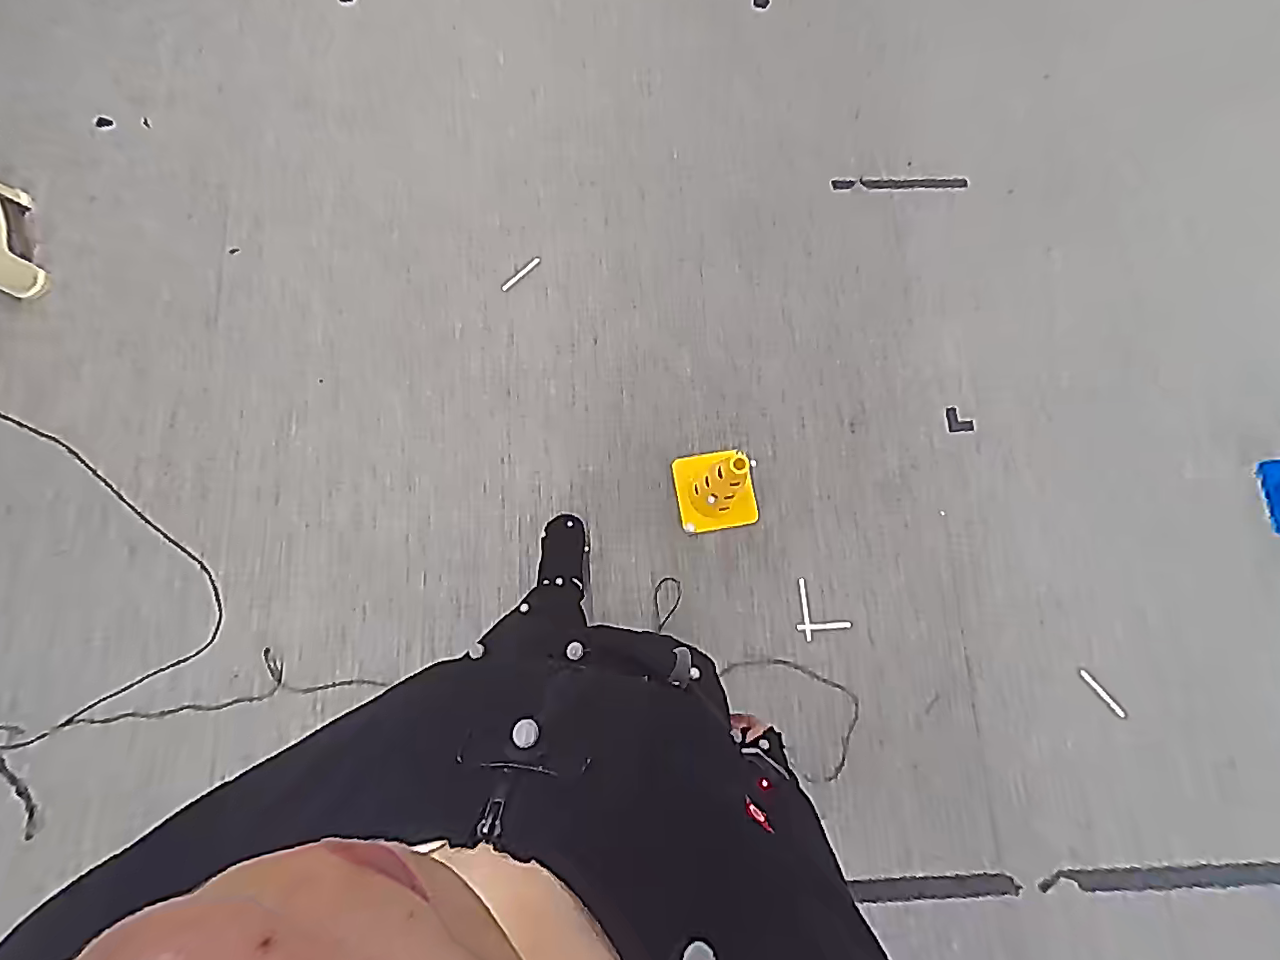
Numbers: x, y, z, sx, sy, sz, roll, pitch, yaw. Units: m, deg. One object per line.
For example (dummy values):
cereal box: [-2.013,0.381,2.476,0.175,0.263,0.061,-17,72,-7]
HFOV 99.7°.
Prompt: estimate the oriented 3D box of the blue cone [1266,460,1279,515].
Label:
blue cone: [1.738,0.006,1.243,0.193,0.380,0.192,-2,79,-1]
